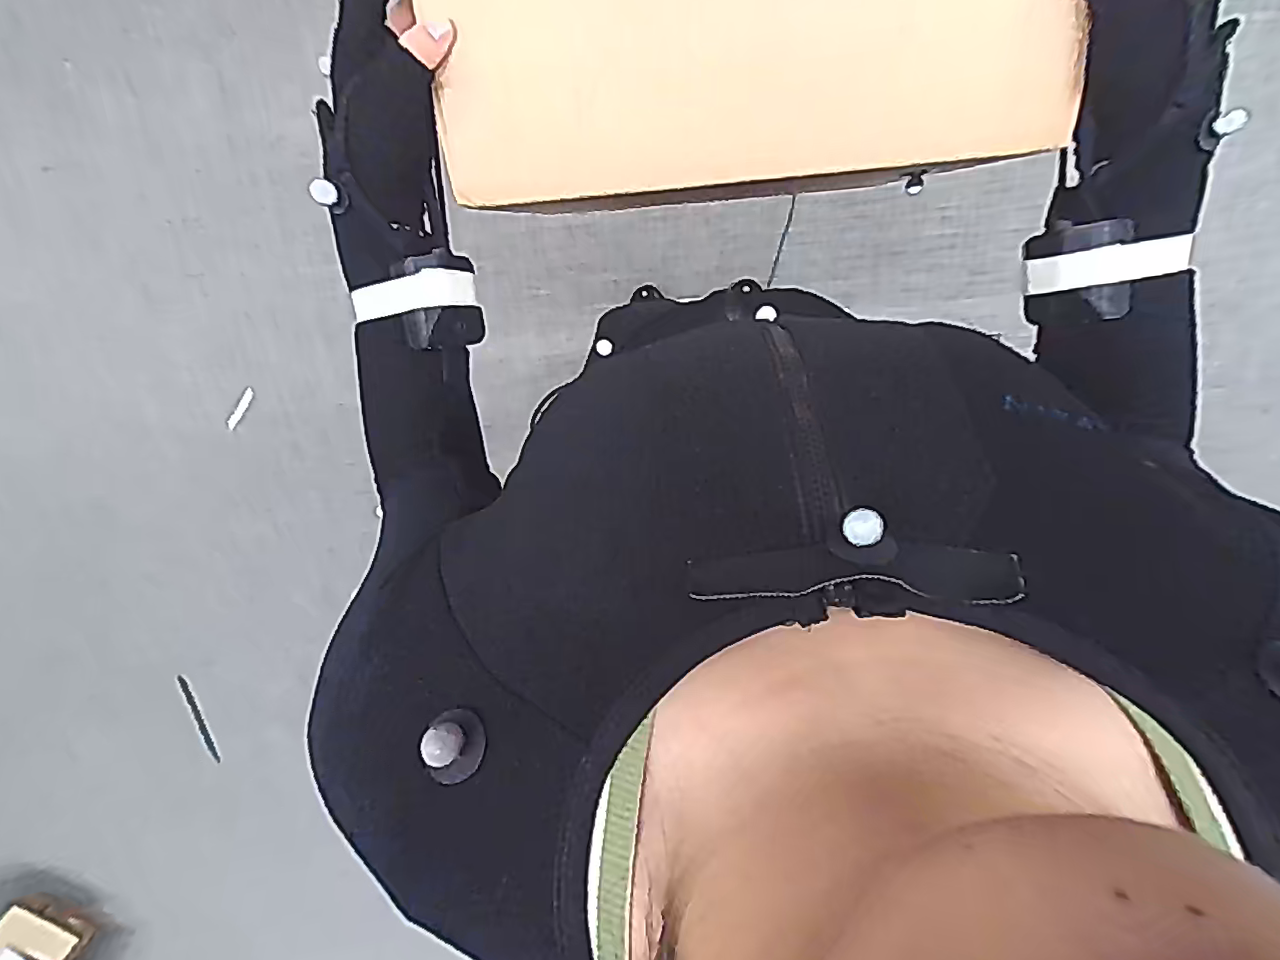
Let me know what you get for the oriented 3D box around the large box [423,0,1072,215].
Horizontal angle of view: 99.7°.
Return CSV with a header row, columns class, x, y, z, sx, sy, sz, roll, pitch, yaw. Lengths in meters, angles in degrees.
class,x,y,z,sx,sy,sz,roll,pitch,yaw
large box,0.063,-0.407,0.442,0.408,0.320,0.320,-4,115,3
